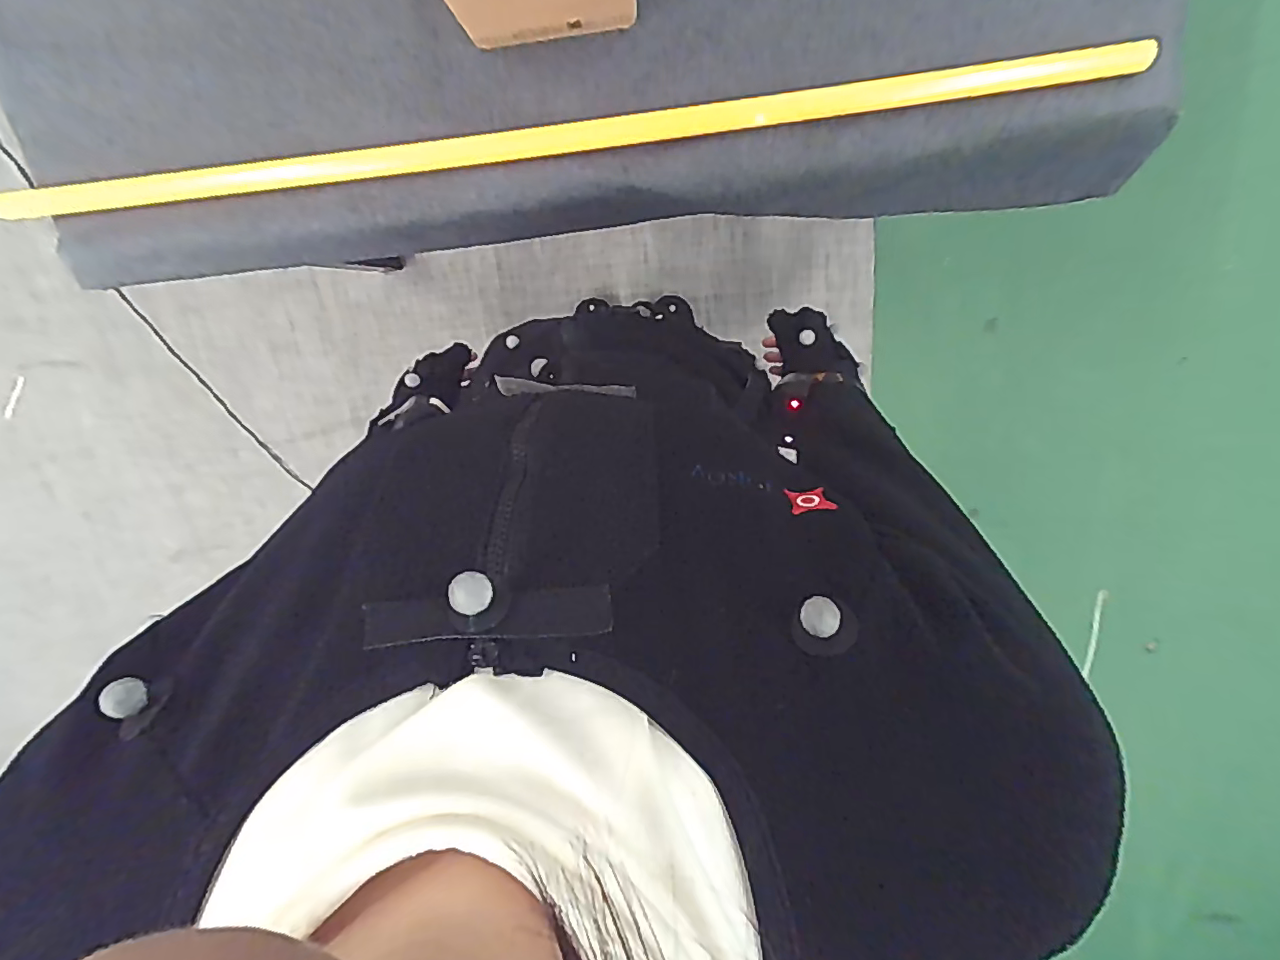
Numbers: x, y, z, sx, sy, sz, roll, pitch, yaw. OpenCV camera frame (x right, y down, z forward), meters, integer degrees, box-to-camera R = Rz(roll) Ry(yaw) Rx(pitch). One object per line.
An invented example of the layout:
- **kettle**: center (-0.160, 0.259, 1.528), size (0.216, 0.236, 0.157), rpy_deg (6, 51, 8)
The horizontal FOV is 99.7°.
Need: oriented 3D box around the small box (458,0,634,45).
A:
- **small box**: center (-0.097, -0.510, 0.447), size (0.168, 0.176, 0.179), rpy_deg (-6, 108, 4)
